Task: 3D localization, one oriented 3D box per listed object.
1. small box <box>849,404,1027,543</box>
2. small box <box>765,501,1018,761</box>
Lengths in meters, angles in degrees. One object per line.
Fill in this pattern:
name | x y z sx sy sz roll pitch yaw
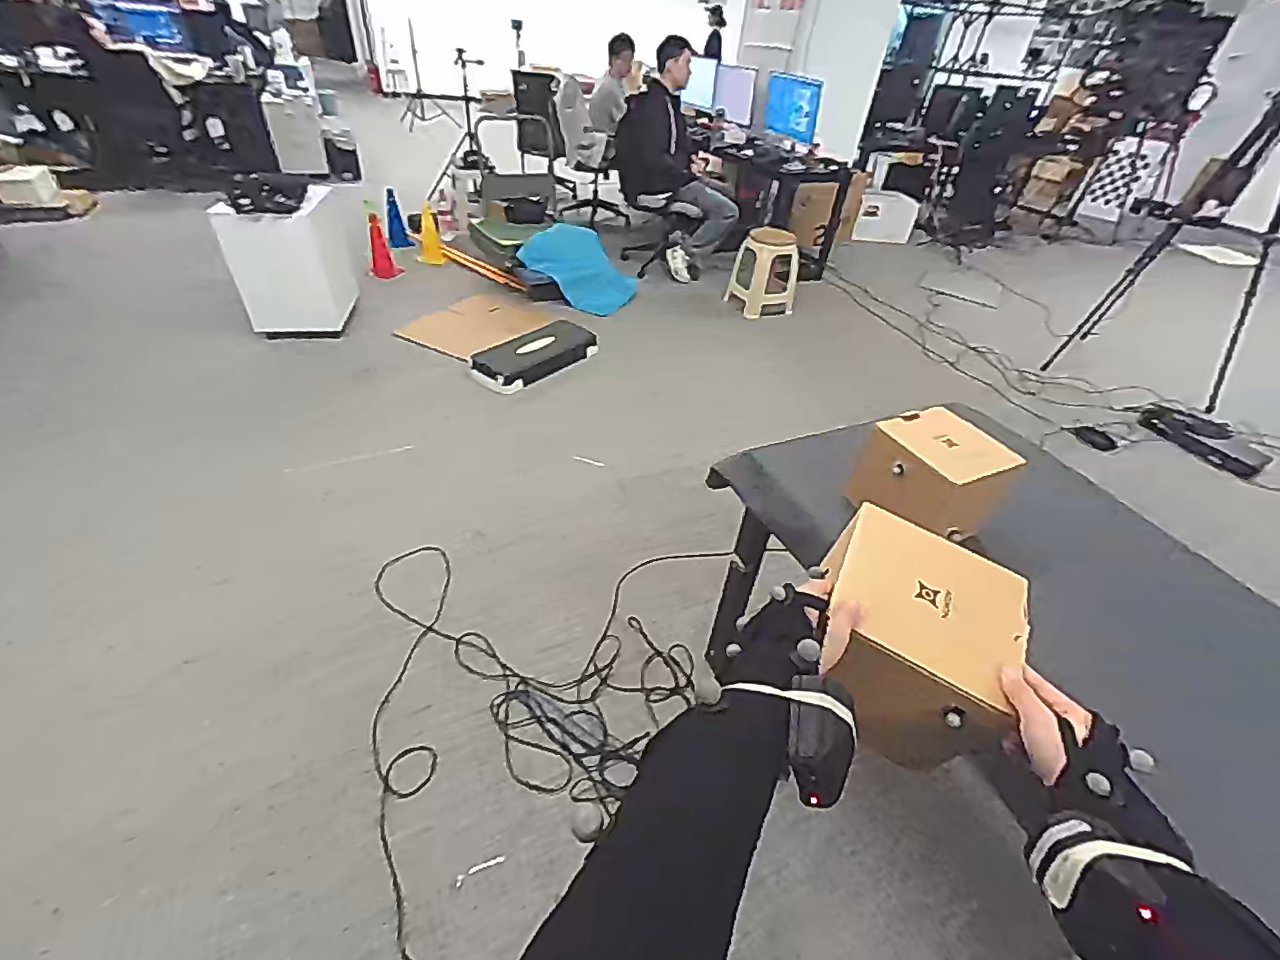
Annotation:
small box | 0.495 -0.003 0.928 0.168 0.176 0.179 -15 46 -22
small box | 0.254 0.161 0.569 0.179 0.176 0.168 28 49 13
